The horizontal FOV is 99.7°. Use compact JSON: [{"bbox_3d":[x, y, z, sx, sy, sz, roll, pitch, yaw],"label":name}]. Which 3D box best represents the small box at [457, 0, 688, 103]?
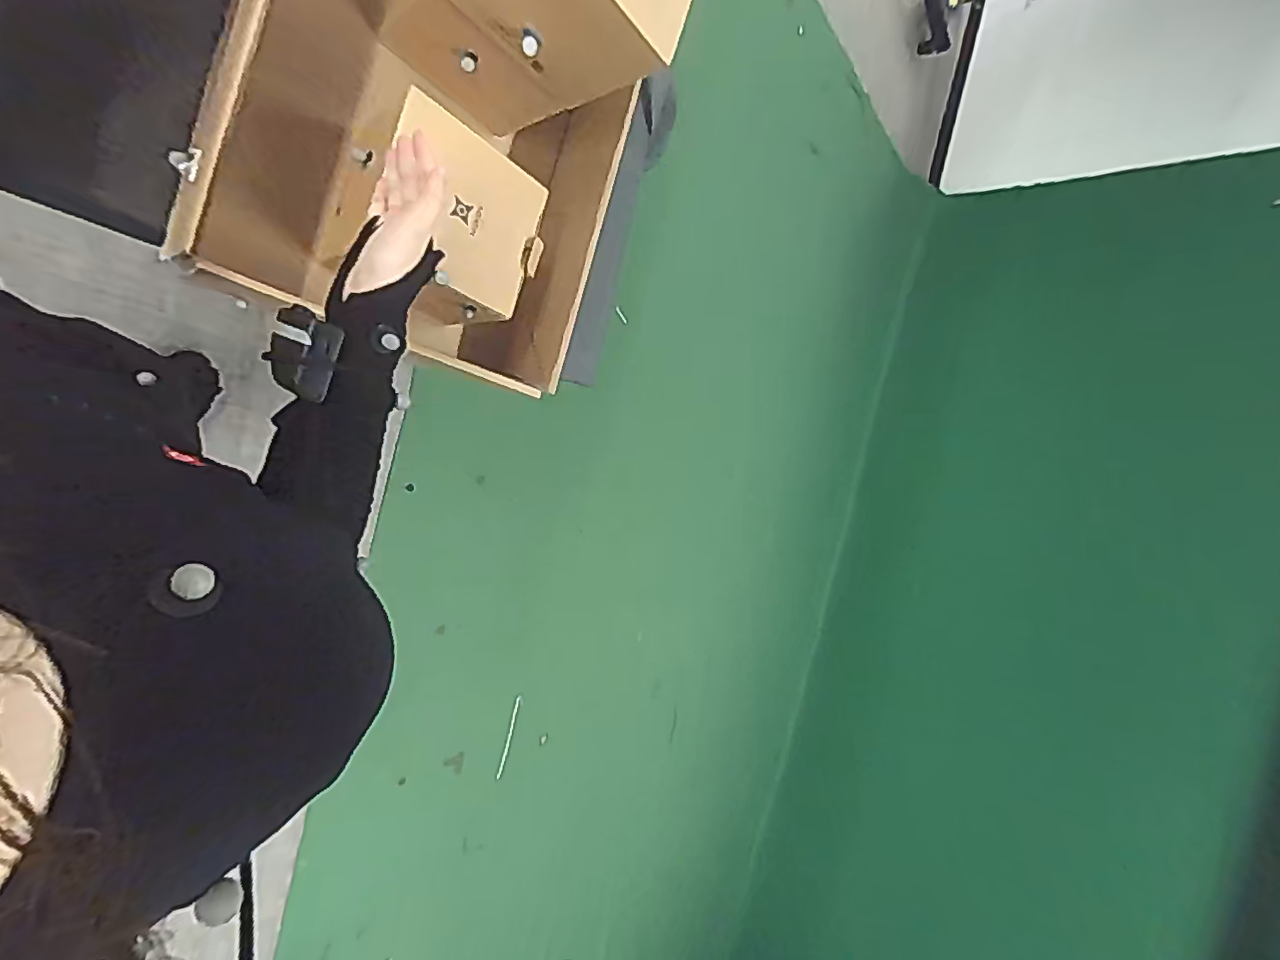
[{"bbox_3d":[-0.058,-0.521,0.530,0.168,0.176,0.179,17,91,-47],"label":"small box"}]
